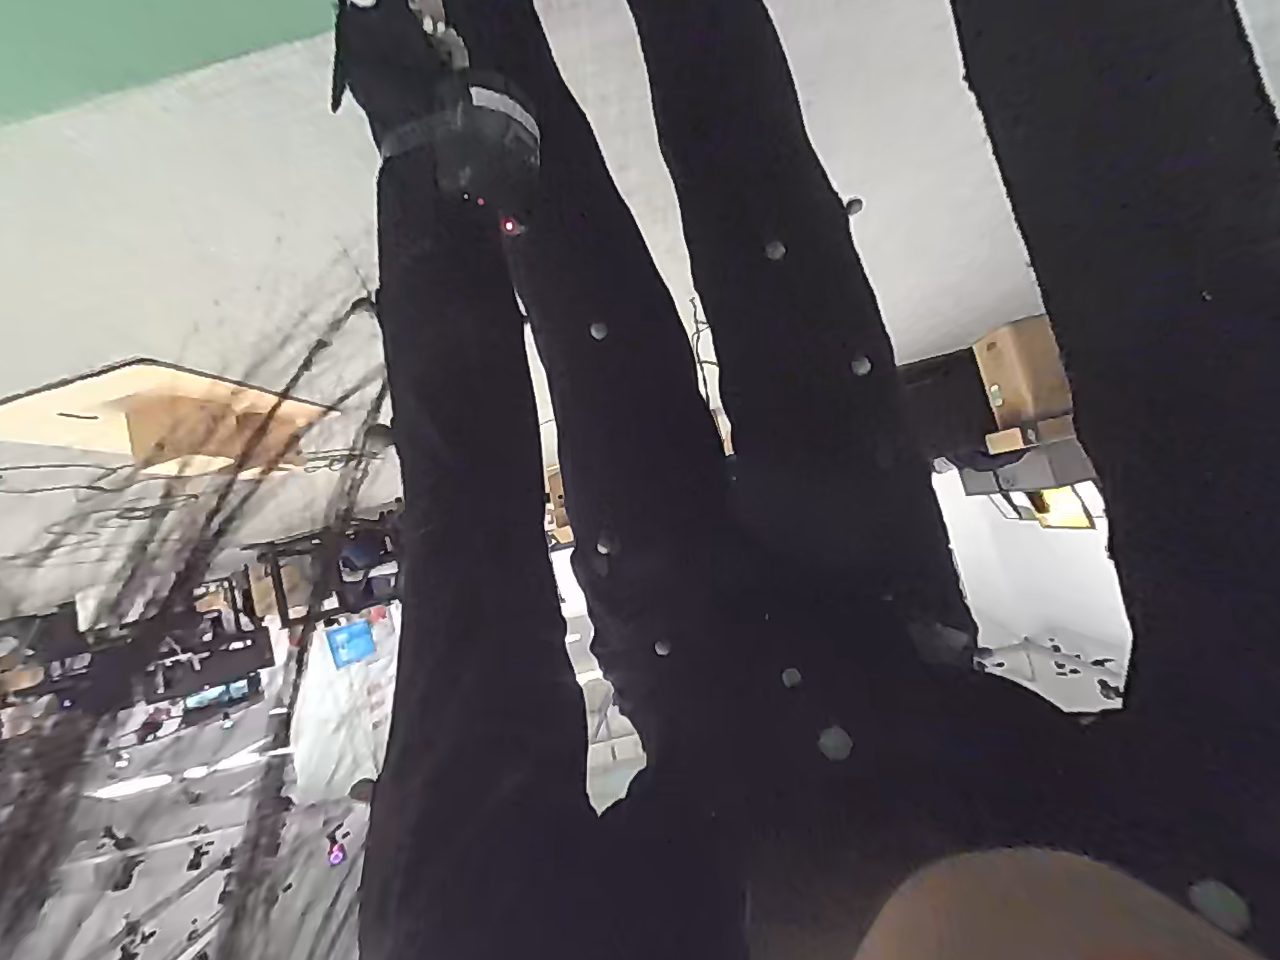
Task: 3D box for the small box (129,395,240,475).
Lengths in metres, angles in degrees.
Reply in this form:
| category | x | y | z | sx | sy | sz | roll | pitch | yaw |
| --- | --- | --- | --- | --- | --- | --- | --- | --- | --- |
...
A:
| category | x | y | z | sx | sy | sz | roll | pitch | yaw |
| --- | --- | --- | --- | --- | --- | --- | --- | --- | --- |
| small box | -1.271 | -0.121 | 1.510 | 0.179 | 0.176 | 0.168 | -16 | 175 | 7 |
